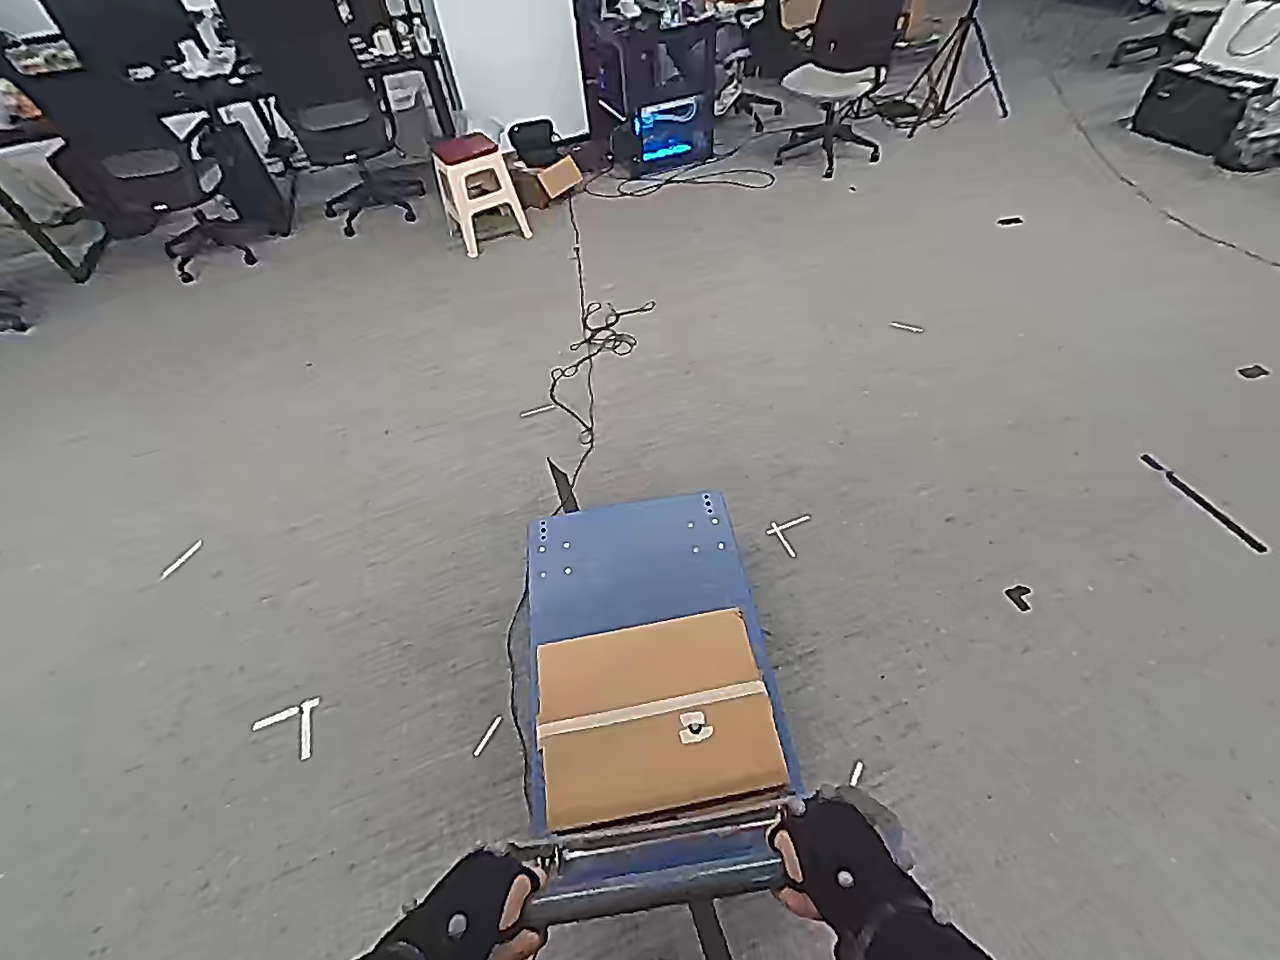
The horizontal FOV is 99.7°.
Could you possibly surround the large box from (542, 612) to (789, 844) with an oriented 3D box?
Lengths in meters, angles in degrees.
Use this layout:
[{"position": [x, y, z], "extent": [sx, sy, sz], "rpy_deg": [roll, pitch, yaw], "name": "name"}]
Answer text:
[{"position": [0.039, 0.508, 1.096], "extent": [0.408, 0.320, 0.320], "rpy_deg": [-11, 54, -3], "name": "large box"}]
